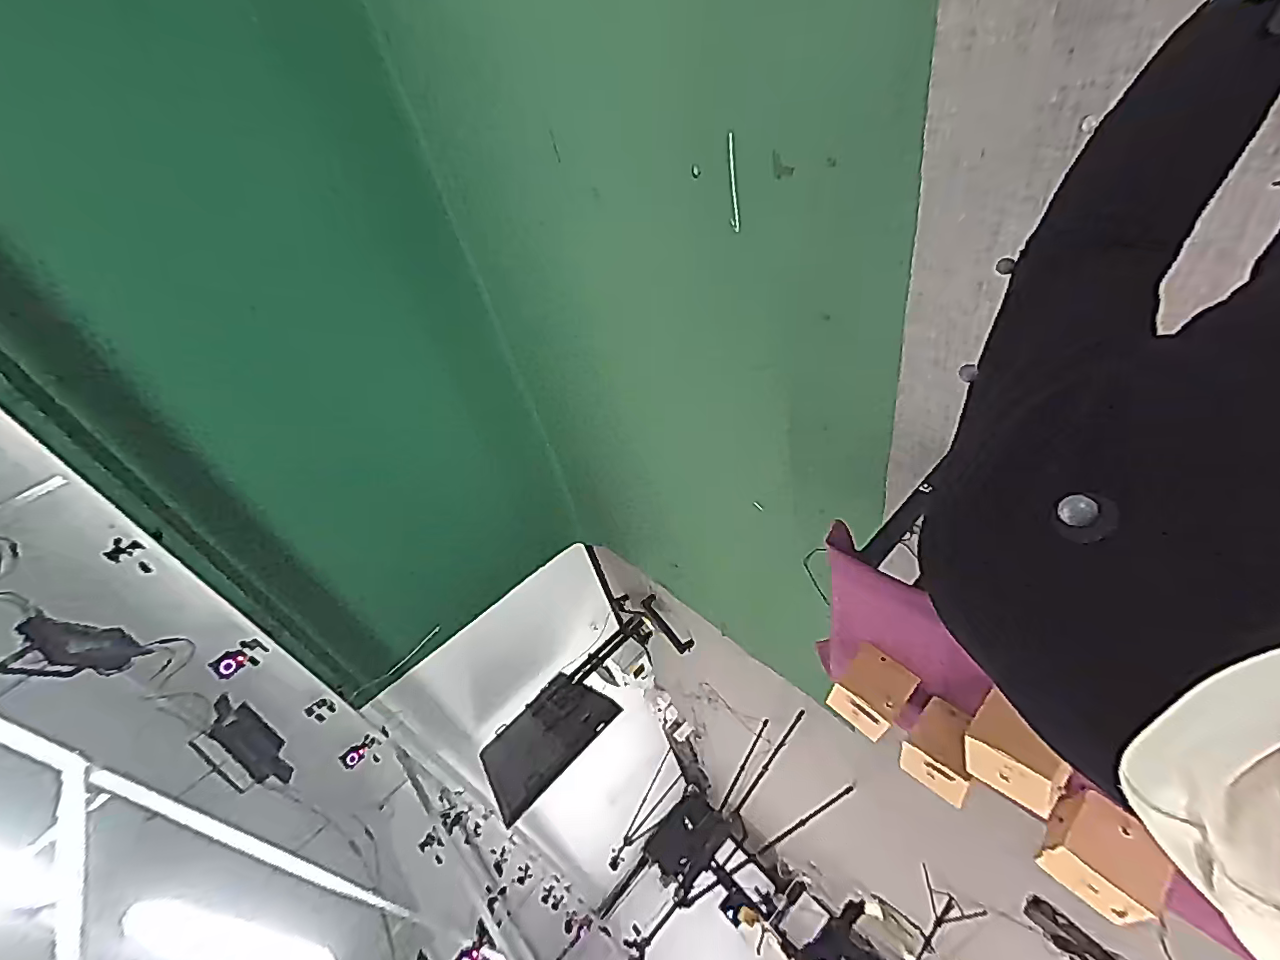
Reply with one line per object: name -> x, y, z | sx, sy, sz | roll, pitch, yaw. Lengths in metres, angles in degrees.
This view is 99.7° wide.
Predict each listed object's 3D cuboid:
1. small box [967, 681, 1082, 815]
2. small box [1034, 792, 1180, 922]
small box -> 0.866, 0.599, 1.223 | 0.168, 0.176, 0.179 | 21, 142, 48
small box -> 1.057, 0.847, 1.230 | 0.179, 0.176, 0.168 | 35, 150, 34
